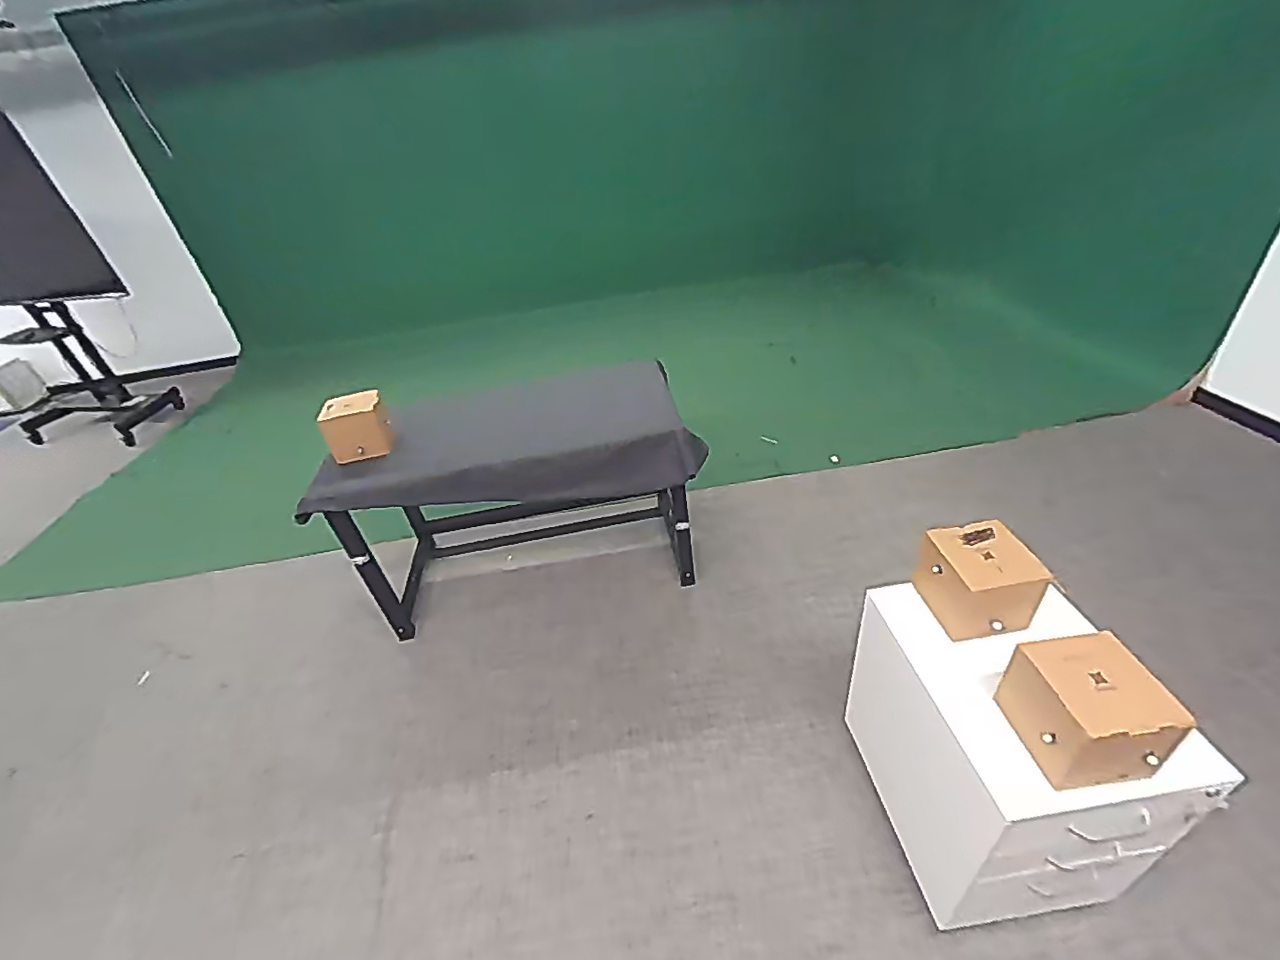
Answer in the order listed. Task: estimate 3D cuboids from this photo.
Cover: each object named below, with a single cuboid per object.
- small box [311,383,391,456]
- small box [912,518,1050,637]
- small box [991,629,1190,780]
[{"bbox_3d":[-0.954,-0.201,1.804,0.179,0.176,0.168,-13,36,-9],"label":"small box"},{"bbox_3d":[0.715,0.208,1.160,0.168,0.176,0.179,-9,38,-2],"label":"small box"},{"bbox_3d":[0.746,0.386,0.921,0.168,0.176,0.179,-7,35,-1],"label":"small box"}]
